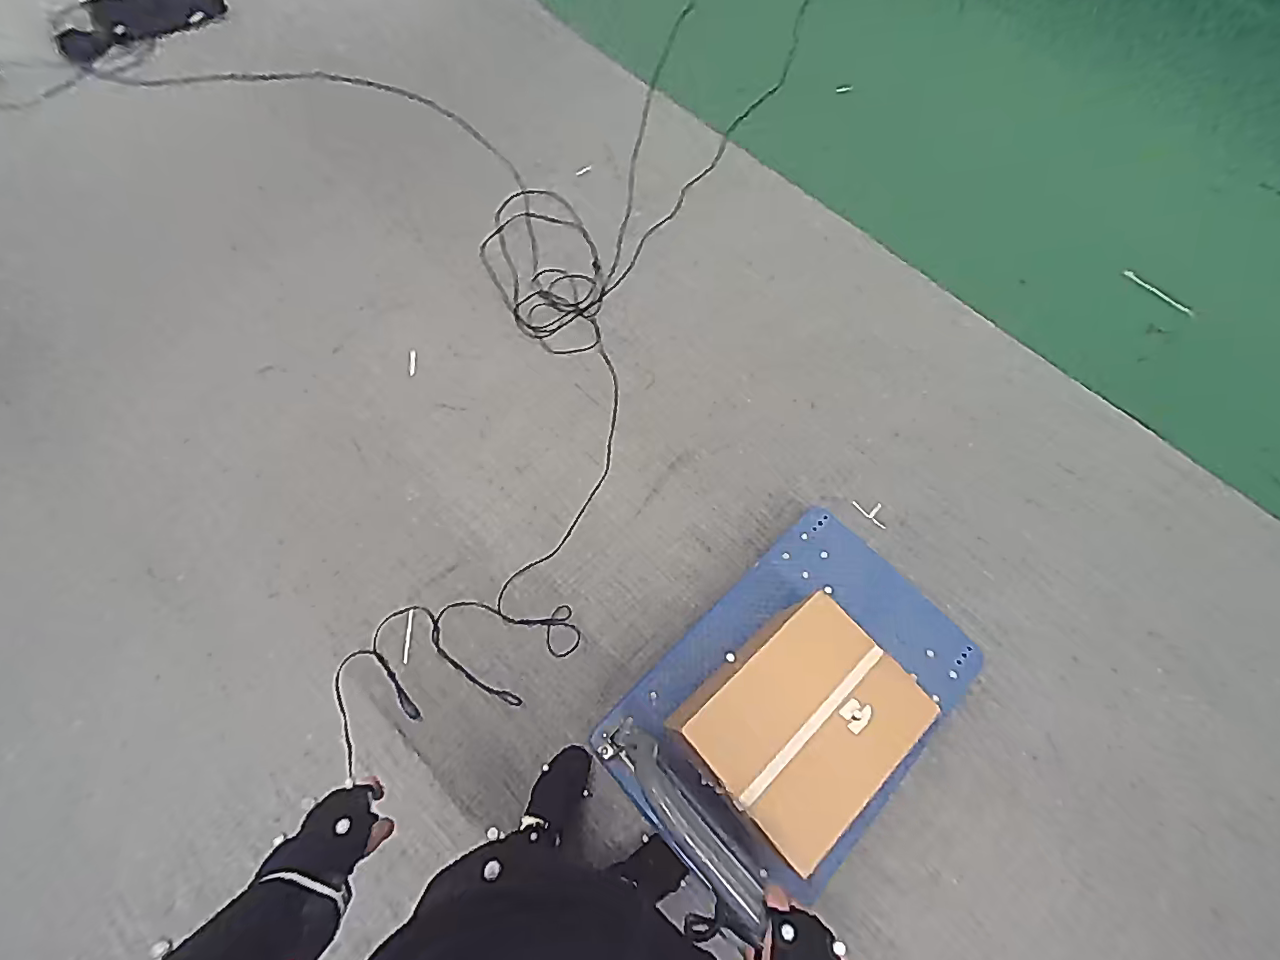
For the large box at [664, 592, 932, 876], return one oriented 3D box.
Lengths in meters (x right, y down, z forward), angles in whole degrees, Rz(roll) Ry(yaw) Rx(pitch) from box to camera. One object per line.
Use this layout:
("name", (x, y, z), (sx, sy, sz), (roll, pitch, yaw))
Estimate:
("large box", (0.307, 0.514, 1.152), (0.408, 0.320, 0.320), (-38, 75, -19))
